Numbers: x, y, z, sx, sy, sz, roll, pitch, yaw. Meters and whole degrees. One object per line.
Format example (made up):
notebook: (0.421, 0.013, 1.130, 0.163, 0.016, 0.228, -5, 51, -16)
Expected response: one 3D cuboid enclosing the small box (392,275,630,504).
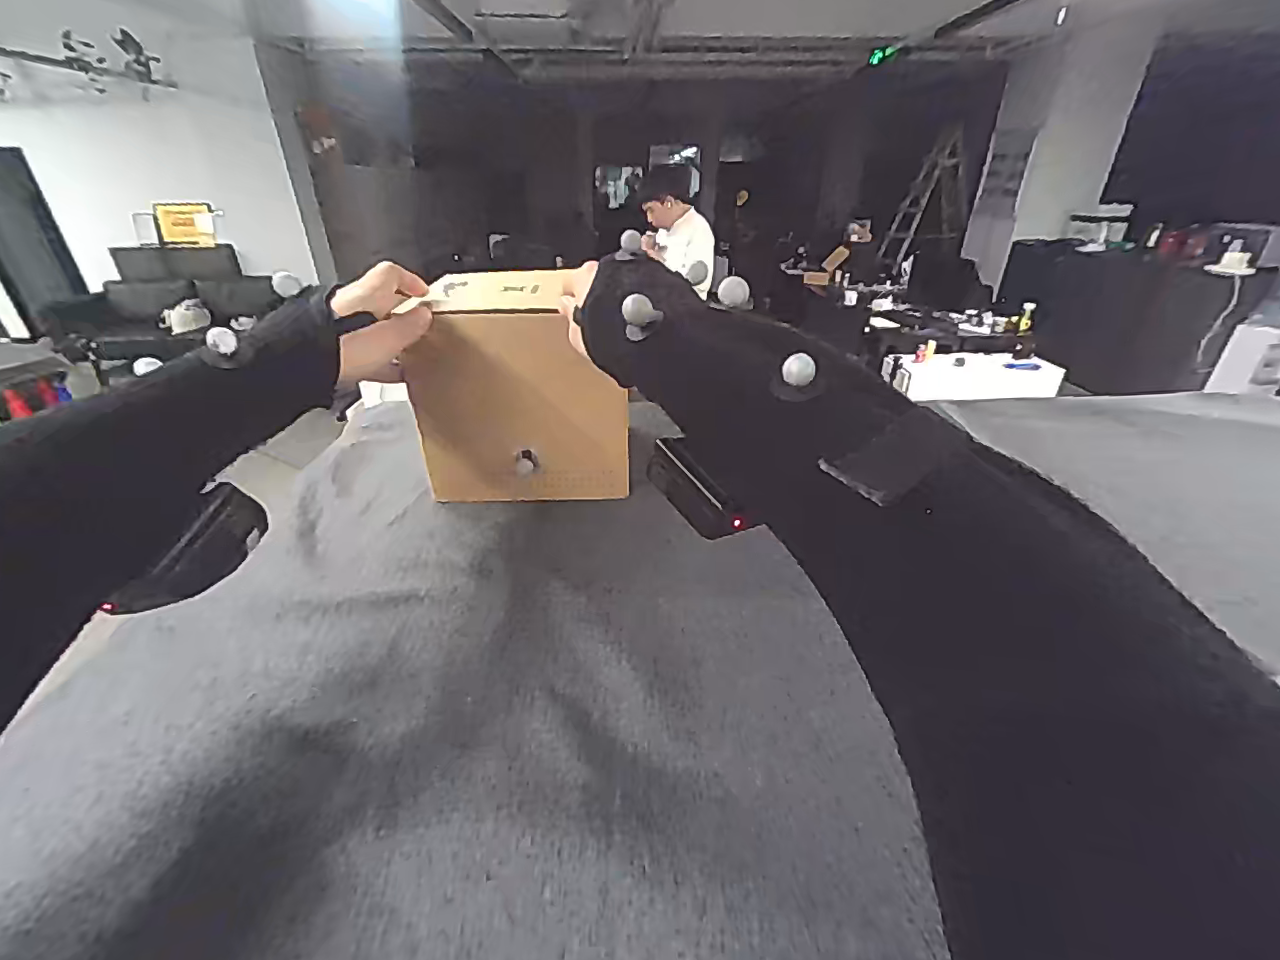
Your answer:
small box: (-0.100, -0.087, 0.506, 0.179, 0.176, 0.168, -1, 29, -2)
